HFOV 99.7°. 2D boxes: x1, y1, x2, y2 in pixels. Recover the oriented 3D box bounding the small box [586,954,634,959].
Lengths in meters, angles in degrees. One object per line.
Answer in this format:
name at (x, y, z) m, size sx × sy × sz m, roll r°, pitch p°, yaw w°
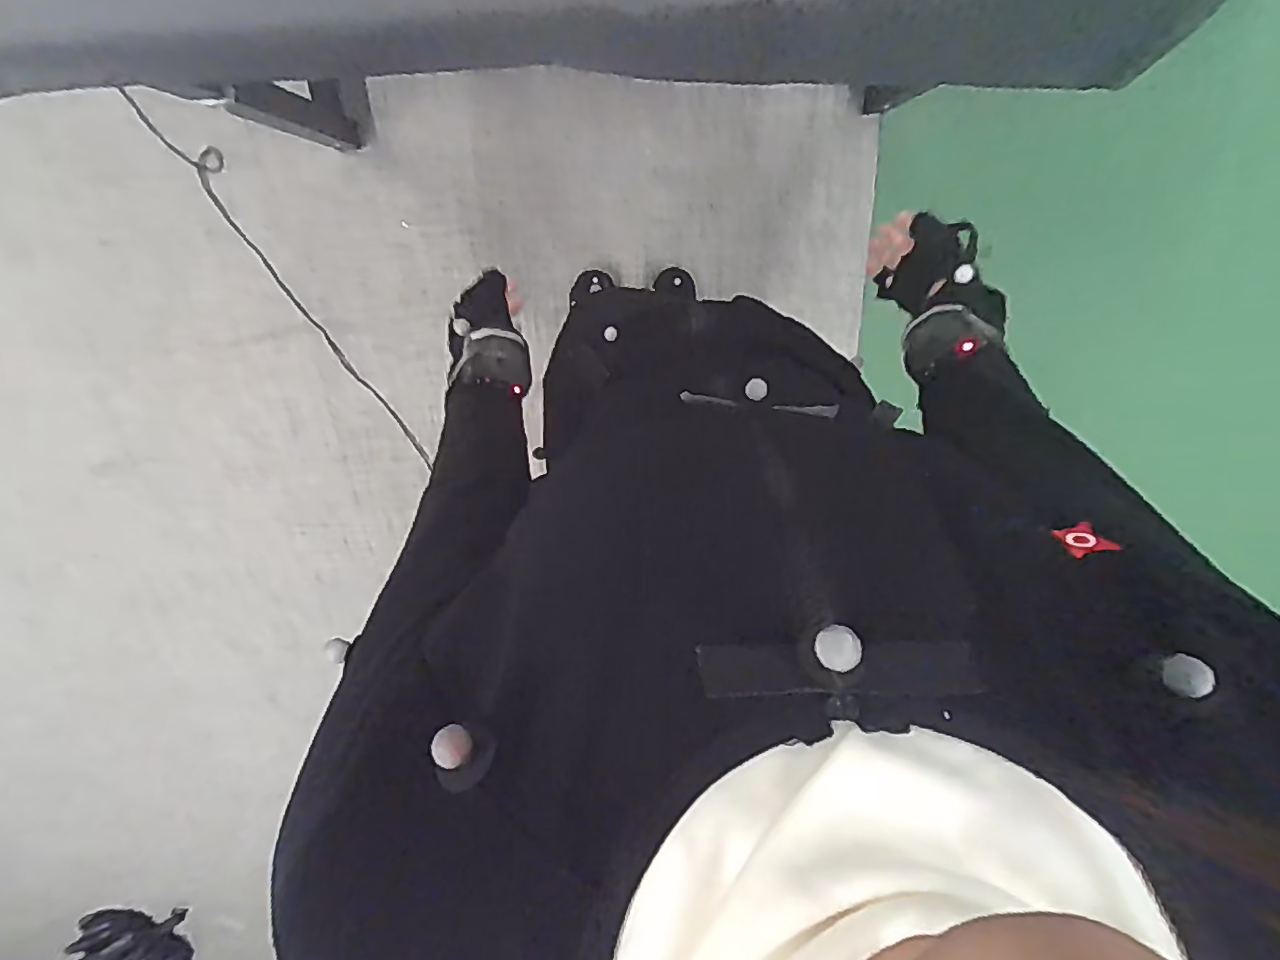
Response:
small box at (-0.108, 1.712, 1.785) m, size 0.179 × 0.176 × 0.168 m, roll 1°, pitch 109°, yaw -3°
